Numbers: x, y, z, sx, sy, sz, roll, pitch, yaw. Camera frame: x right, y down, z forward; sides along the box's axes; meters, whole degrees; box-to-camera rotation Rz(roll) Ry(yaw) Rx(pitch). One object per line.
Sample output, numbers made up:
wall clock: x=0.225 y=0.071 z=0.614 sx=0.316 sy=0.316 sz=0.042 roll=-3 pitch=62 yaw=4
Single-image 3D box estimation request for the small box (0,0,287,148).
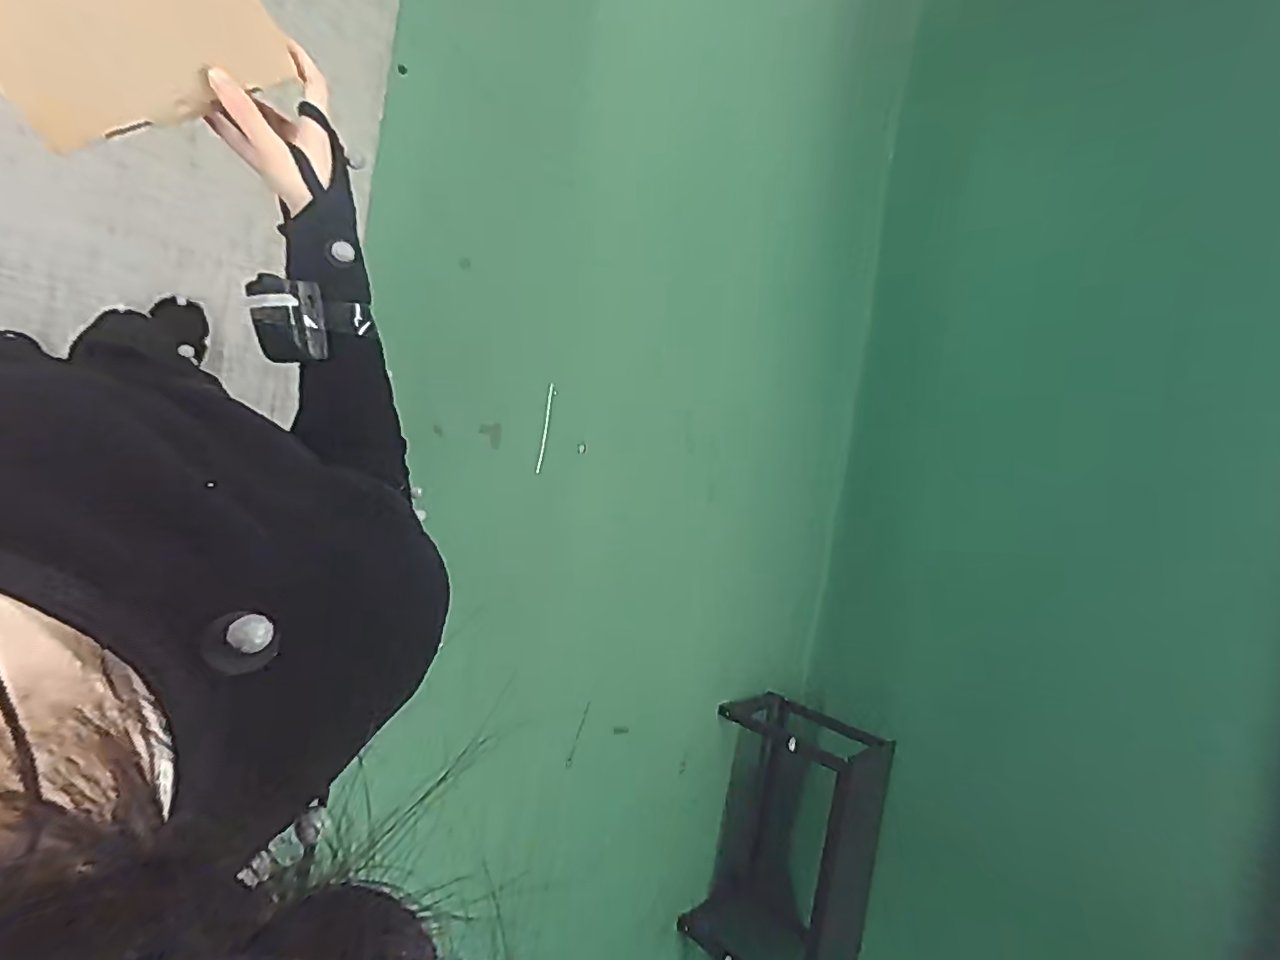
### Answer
small box: x=-0.374 y=-0.352 z=0.344 sx=0.168 sy=0.176 sz=0.179 roll=-34 pitch=147 yaw=-21
